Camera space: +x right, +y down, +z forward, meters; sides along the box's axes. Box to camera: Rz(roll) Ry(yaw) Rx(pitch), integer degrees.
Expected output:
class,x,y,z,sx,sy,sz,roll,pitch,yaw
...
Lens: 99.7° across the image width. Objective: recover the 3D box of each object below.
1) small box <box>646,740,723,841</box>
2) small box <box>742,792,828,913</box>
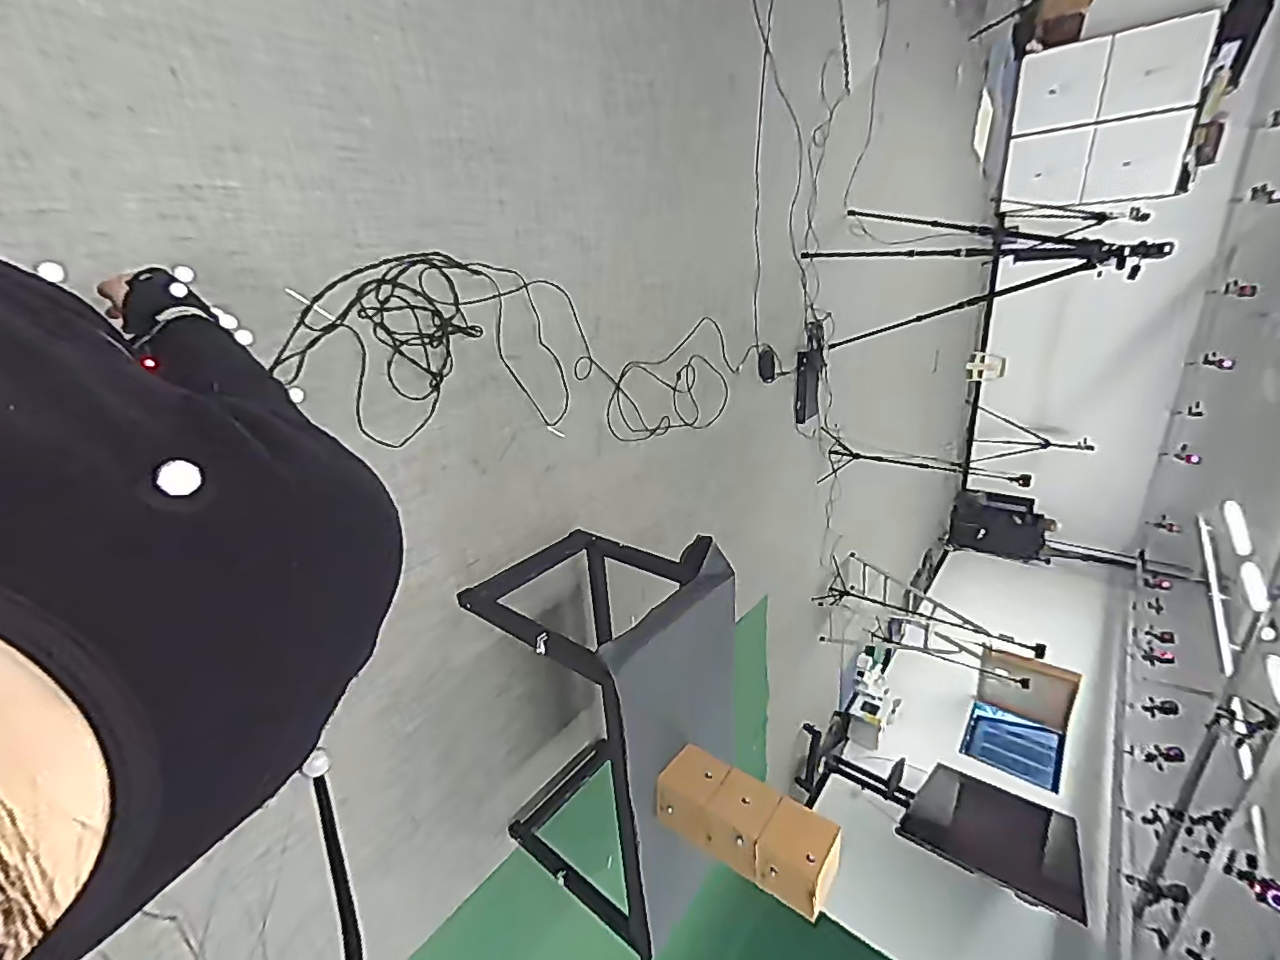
class,x,y,z,sx,sy,sz,roll,pitch,yaw
small box,0.137,0.945,1.666,0.179,0.176,0.168,-21,117,-48
small box,0.395,1.001,1.473,0.179,0.176,0.168,-27,122,-46
